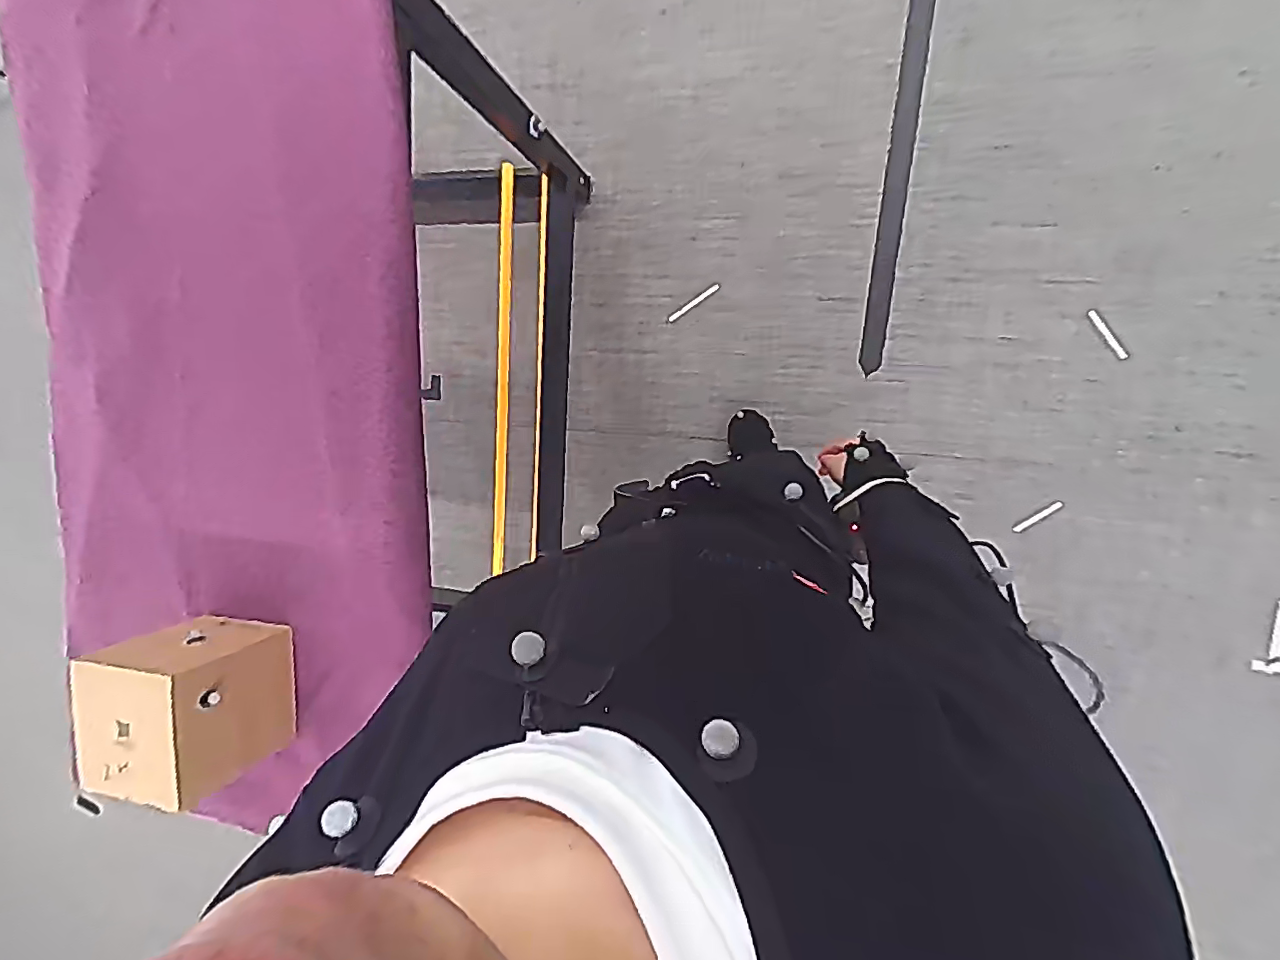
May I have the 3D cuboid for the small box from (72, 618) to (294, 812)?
[{"bbox_3d":[-0.605,0.301,0.734,0.168,0.176,0.179,3,96,14],"label":"small box"}]
